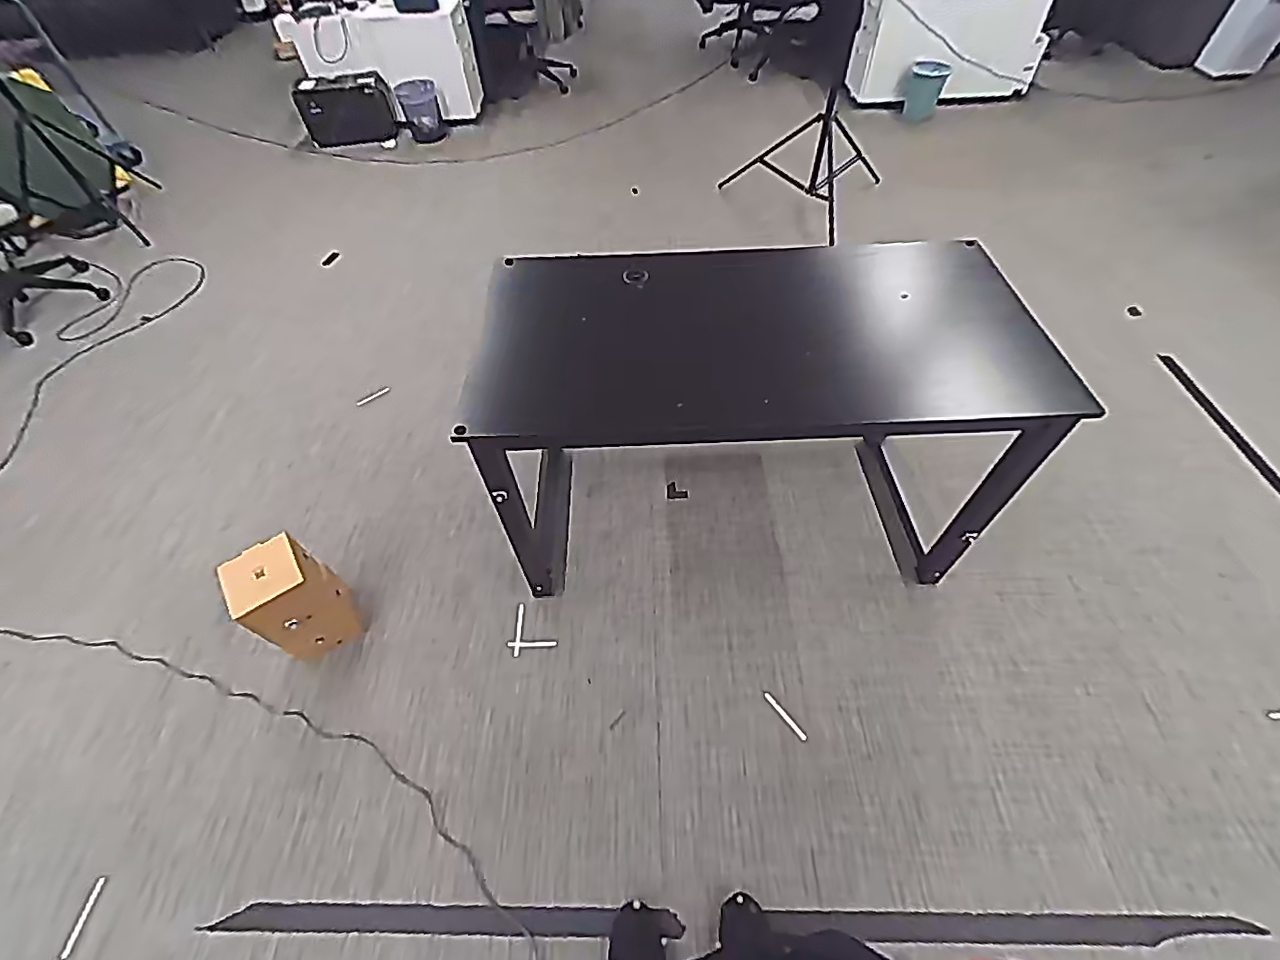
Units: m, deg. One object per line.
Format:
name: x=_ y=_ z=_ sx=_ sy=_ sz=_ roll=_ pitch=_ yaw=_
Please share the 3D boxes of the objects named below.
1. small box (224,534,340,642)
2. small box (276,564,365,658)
small box: x=-0.908 y=0.279 z=1.379 sx=0.168 sy=0.176 sz=0.179 roll=-33 pitch=59 yaw=-19
small box: x=-0.900 y=0.375 z=1.512 sx=0.168 sy=0.176 sz=0.179 roll=-27 pitch=56 yaw=-18
